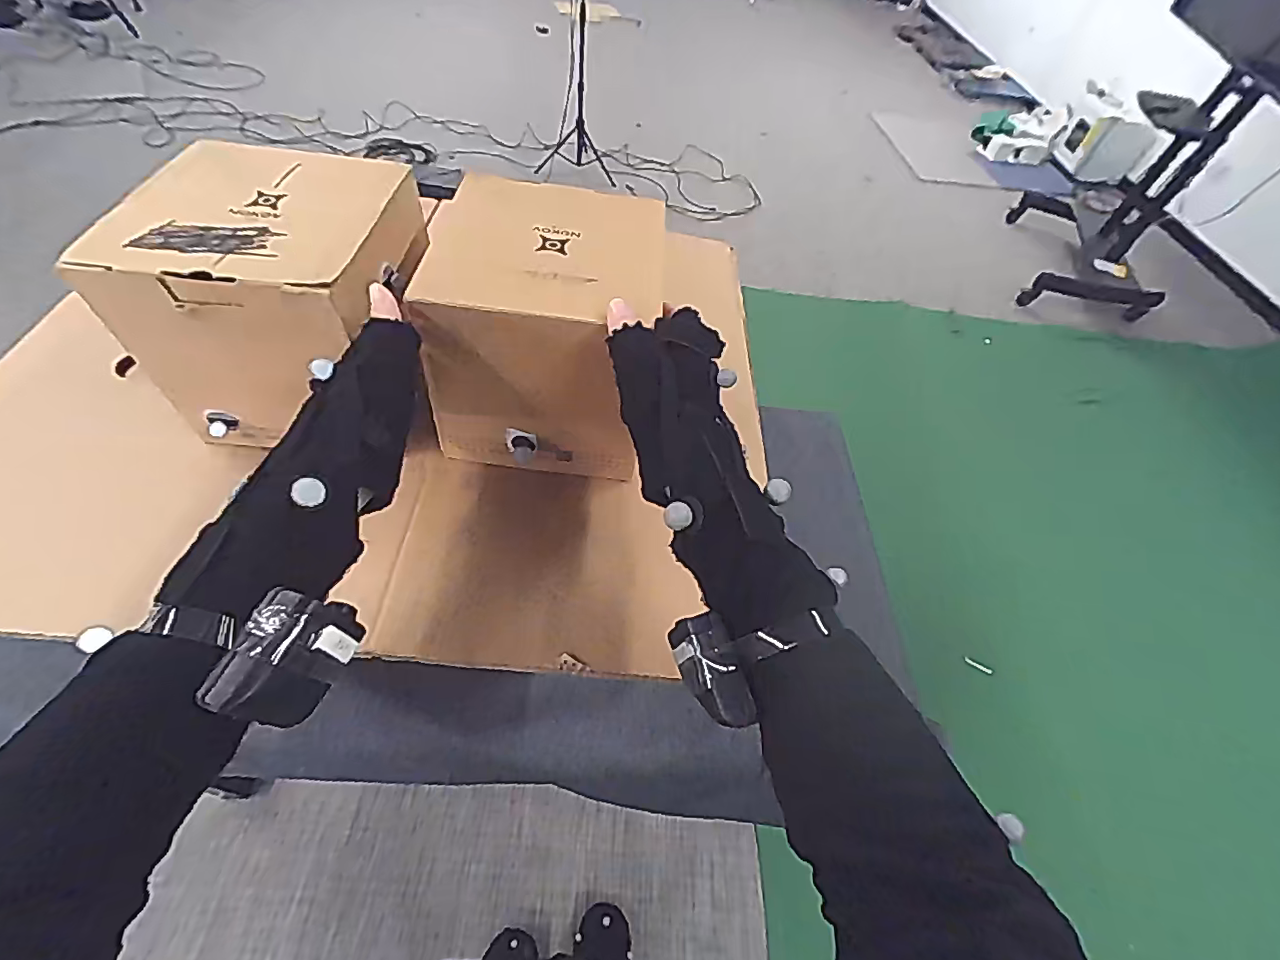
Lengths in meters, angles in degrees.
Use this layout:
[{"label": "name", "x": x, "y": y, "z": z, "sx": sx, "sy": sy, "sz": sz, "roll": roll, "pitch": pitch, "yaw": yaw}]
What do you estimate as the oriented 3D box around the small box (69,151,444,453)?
[{"label": "small box", "x": -0.277, "y": -0.141, "z": 0.451, "sx": 0.168, "sy": 0.176, "sz": 0.179, "roll": 5, "pitch": 52, "yaw": -3}]
